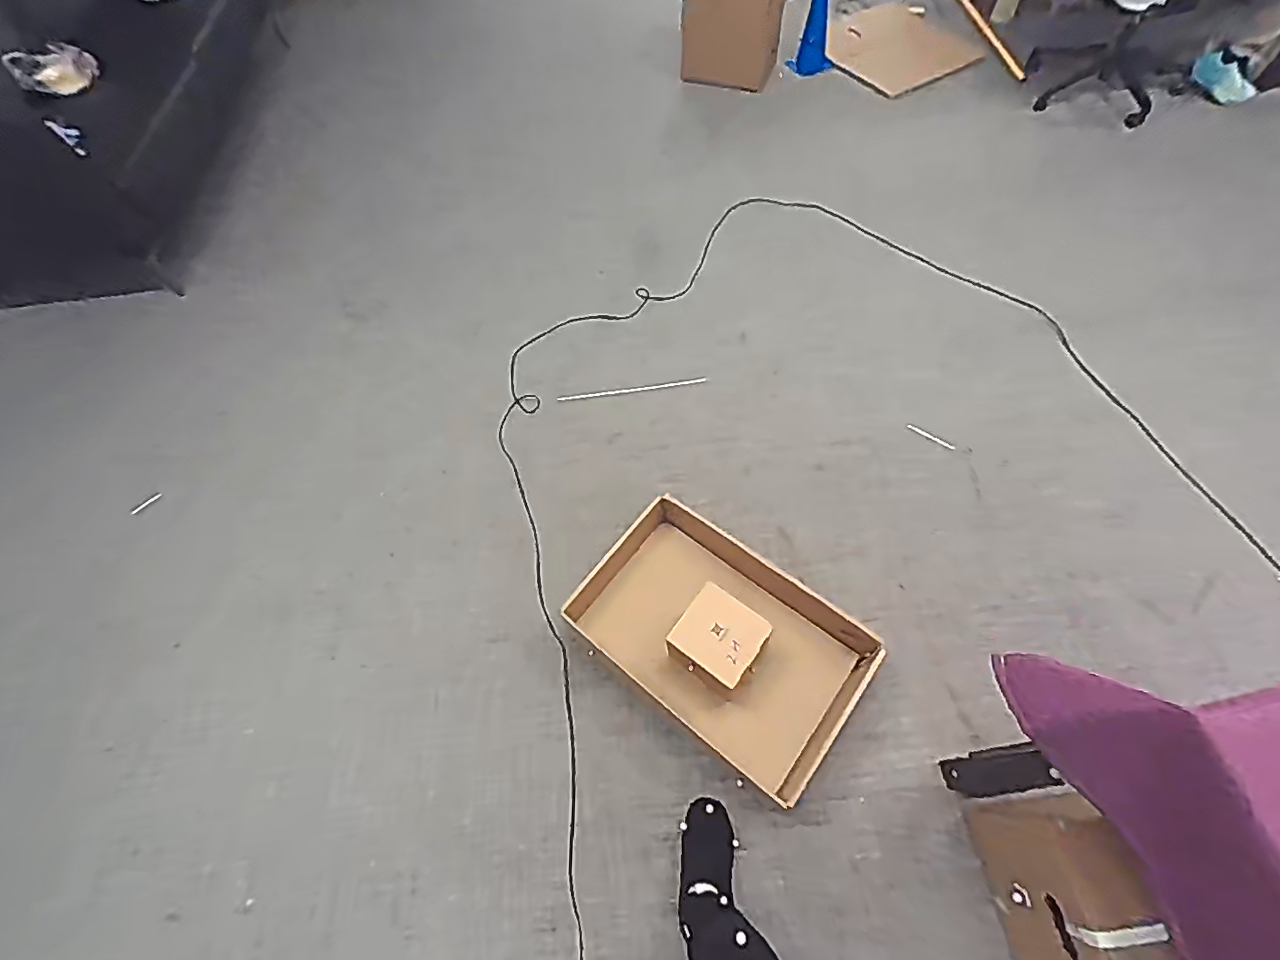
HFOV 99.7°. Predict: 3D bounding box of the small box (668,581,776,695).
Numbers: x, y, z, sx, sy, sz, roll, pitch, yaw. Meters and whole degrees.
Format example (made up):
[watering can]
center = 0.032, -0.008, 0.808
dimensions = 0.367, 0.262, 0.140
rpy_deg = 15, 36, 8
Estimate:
[small box]
center = 0.182, 0.364, 1.226
dimensions = 0.179, 0.176, 0.168
rpy_deg = 34, 70, 22
